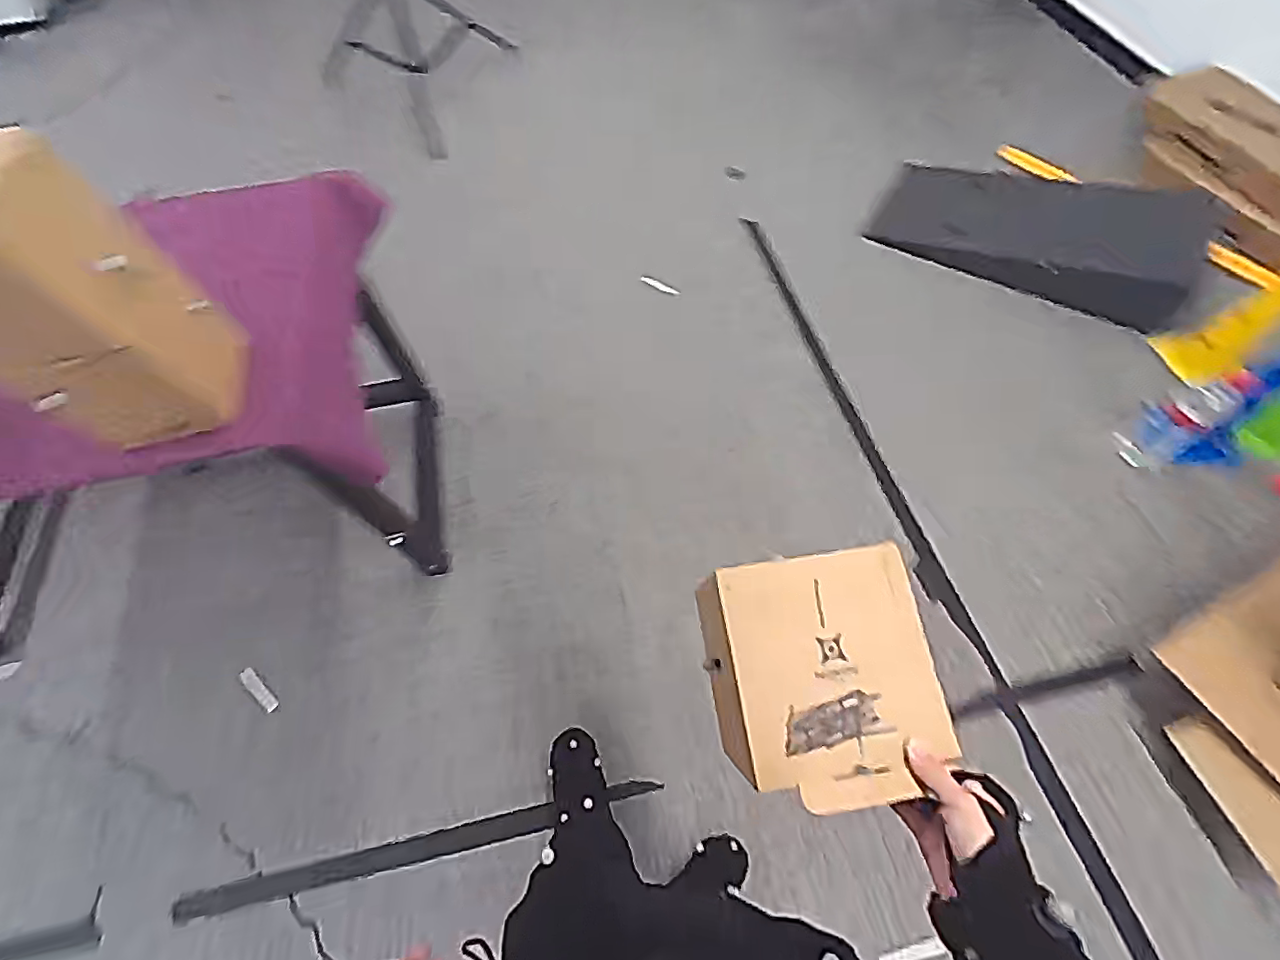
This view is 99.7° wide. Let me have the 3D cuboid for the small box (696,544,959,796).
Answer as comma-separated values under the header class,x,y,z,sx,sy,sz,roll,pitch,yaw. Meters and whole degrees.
class,x,y,z,sx,sy,sz,roll,pitch,yaw
small box,0.155,0.172,0.515,0.168,0.176,0.179,-9,72,-4
